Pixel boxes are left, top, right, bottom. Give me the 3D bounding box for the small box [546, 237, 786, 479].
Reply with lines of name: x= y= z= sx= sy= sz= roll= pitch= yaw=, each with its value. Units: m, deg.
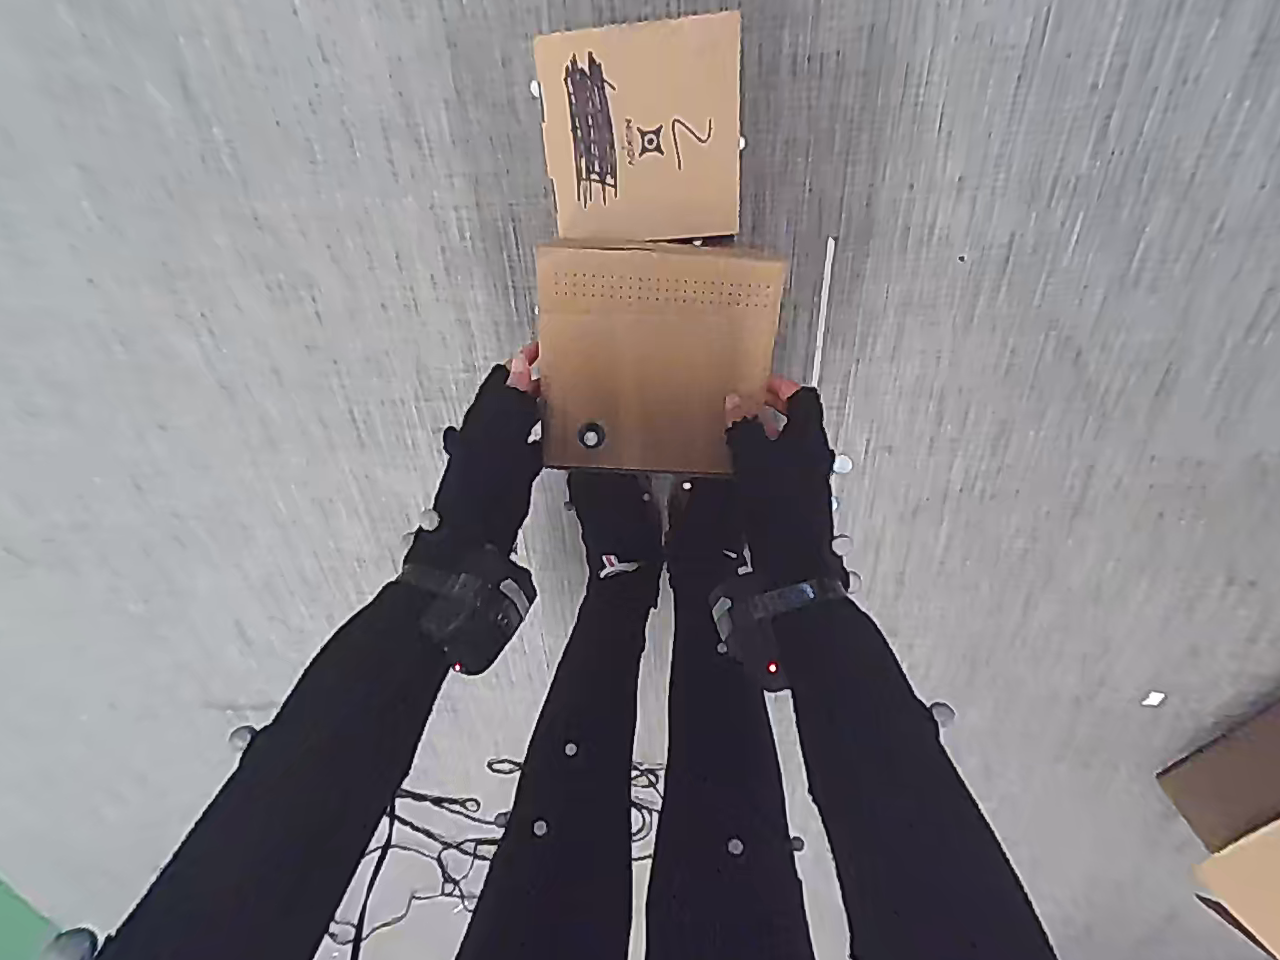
small box: x=0.017 y=-0.114 z=0.474 sx=0.179 sy=0.168 sz=0.176 roll=4 pitch=114 yaw=-1
